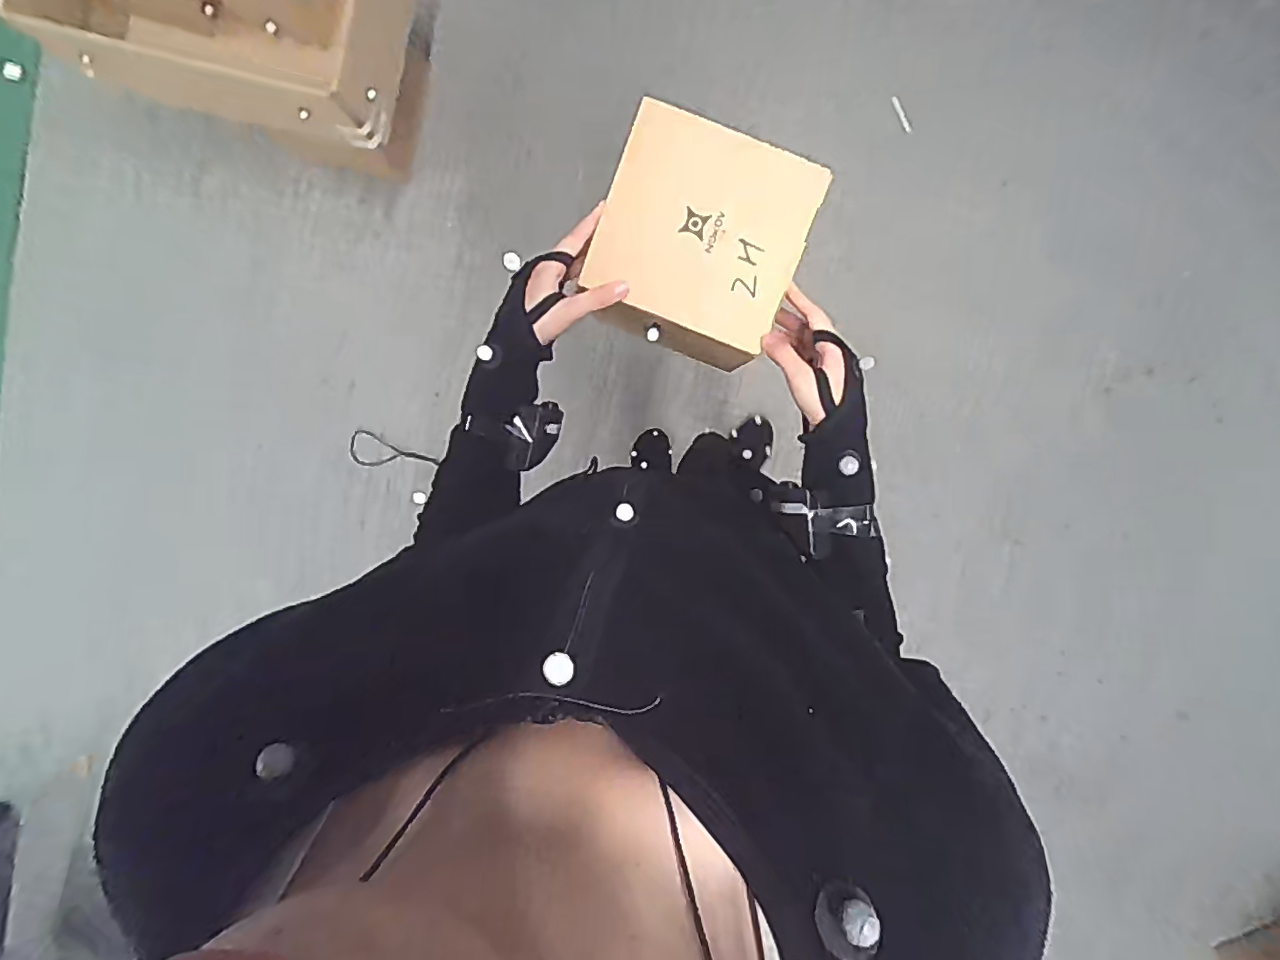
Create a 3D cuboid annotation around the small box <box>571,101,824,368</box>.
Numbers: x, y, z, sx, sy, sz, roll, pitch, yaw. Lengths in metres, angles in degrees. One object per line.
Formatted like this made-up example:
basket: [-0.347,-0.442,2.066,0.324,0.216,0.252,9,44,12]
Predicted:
small box: [0.048,-0.221,0.541,0.179,0.176,0.168,20,95,-2]
